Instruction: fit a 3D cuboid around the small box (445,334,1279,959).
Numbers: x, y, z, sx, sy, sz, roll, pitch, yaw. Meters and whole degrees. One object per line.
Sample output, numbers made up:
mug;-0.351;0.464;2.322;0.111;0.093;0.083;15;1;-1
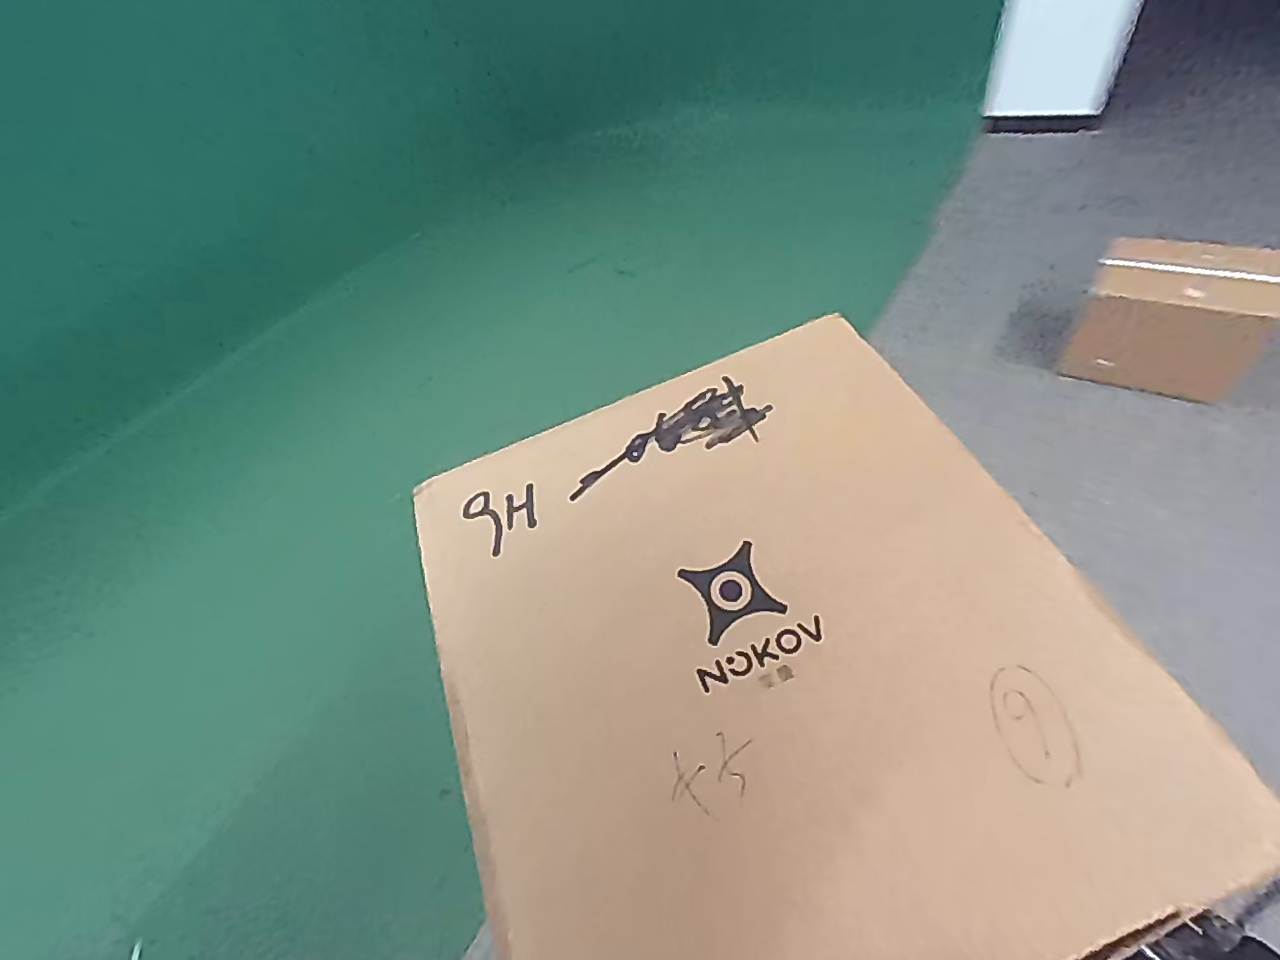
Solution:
small box;0.047;0.082;0.221;0.168;0.176;0.179;-21;60;-3
